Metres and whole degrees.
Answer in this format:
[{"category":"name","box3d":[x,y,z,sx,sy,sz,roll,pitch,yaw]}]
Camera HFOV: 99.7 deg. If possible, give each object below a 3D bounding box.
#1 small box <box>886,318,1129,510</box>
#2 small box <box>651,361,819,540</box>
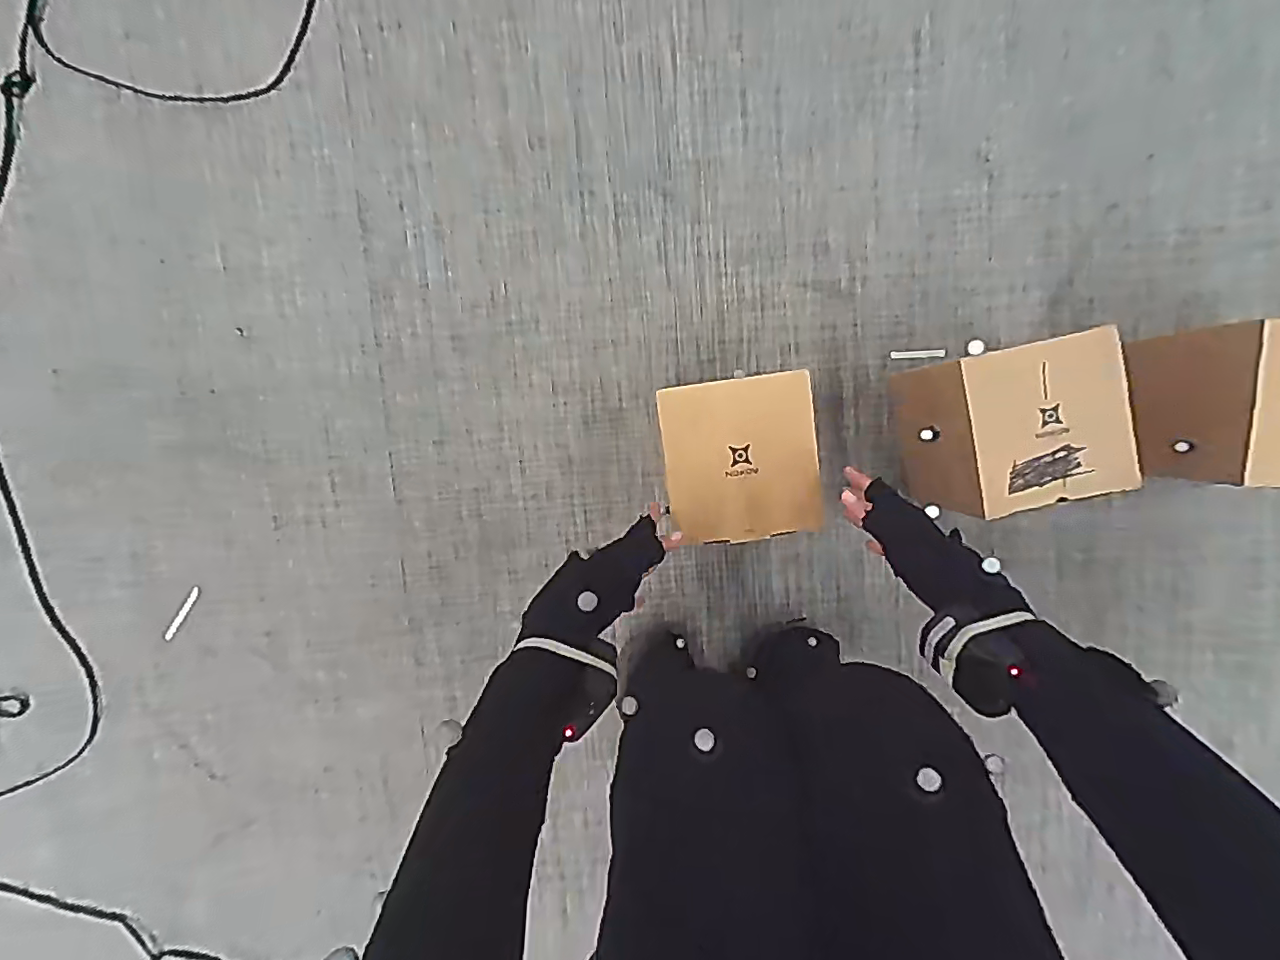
[{"category":"small box","box3d":[0.419,-0.075,0.643,0.168,0.176,0.179,-12,95,2]},{"category":"small box","box3d":[0.103,-0.038,0.656,0.168,0.176,0.179,-8,96,3]}]
